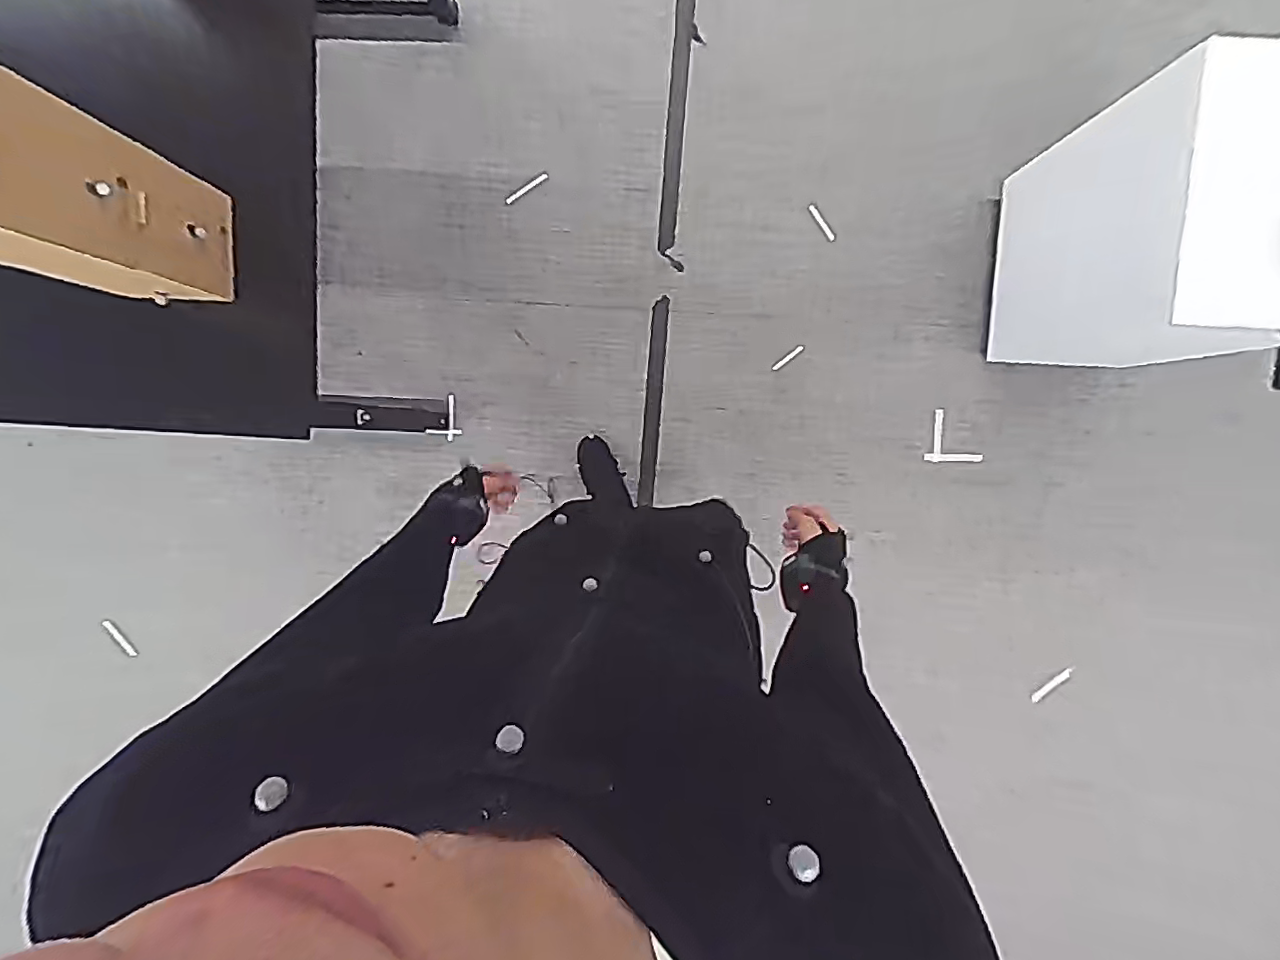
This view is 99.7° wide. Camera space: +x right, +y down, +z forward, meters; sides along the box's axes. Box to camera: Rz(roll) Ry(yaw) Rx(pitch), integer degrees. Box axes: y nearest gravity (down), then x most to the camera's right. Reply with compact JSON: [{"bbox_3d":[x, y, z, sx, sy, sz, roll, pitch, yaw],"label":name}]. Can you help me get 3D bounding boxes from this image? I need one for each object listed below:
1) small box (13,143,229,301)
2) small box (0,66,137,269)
[{"bbox_3d":[-0.736,-0.364,0.783,0.179,0.176,0.168,1,95,0],"label":"small box"},{"bbox_3d":[-0.738,-0.350,0.619,0.179,0.176,0.168,2,96,0],"label":"small box"}]
